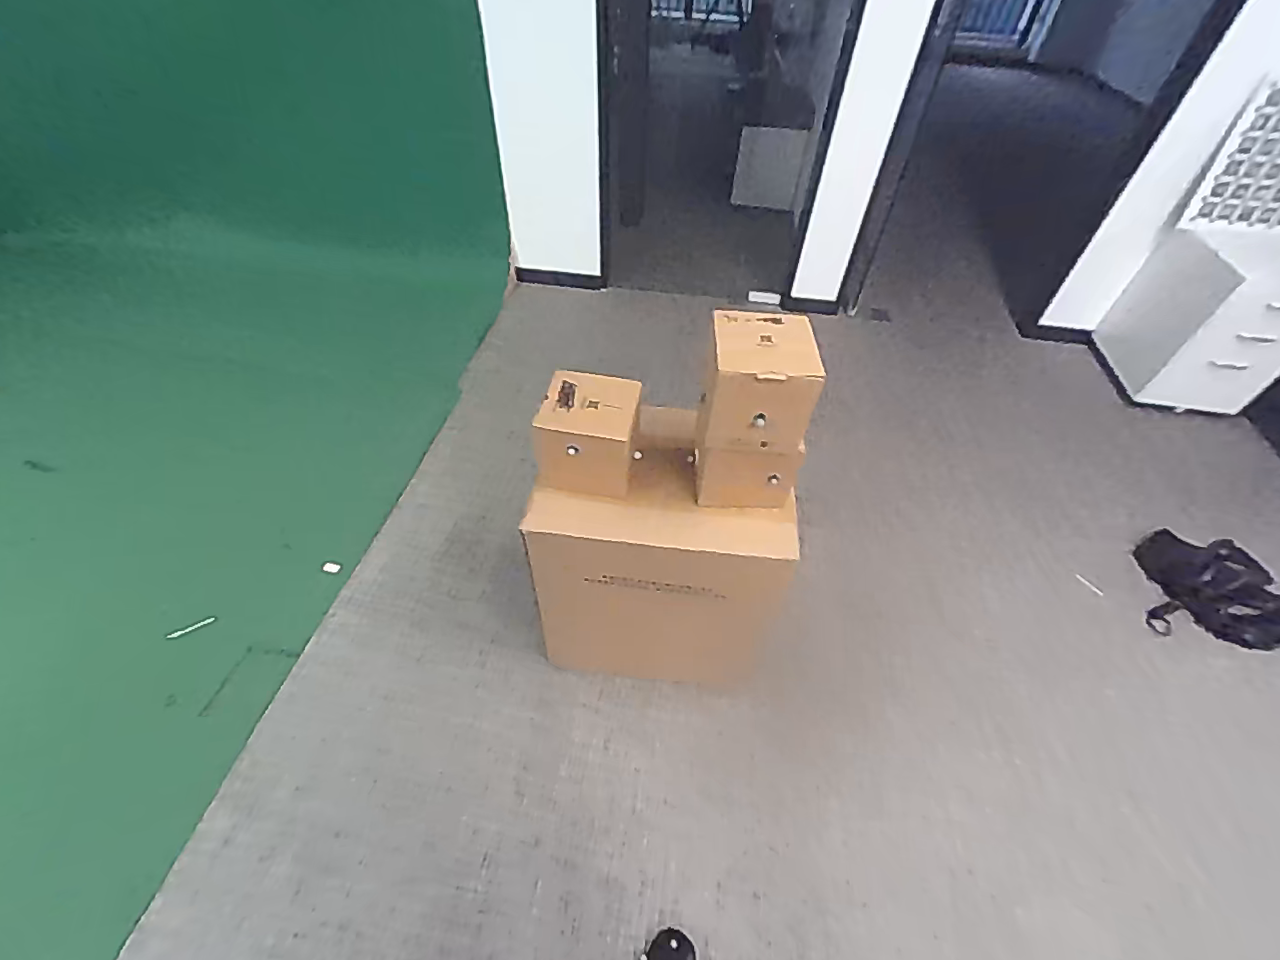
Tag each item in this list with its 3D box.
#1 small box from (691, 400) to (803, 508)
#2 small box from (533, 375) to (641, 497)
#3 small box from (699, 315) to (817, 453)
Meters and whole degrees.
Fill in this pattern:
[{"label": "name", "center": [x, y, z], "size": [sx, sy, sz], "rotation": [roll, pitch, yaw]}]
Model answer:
[{"label": "small box", "center": [0.201, -0.056, 1.066], "size": [0.179, 0.176, 0.168], "rotation": [-1, 48, -1]}, {"label": "small box", "center": [-0.097, -0.084, 1.077], "size": [0.179, 0.176, 0.168], "rotation": [9, 50, 5]}, {"label": "small box", "center": [0.195, -0.165, 0.943], "size": [0.168, 0.176, 0.179], "rotation": [4, 49, 0]}]
